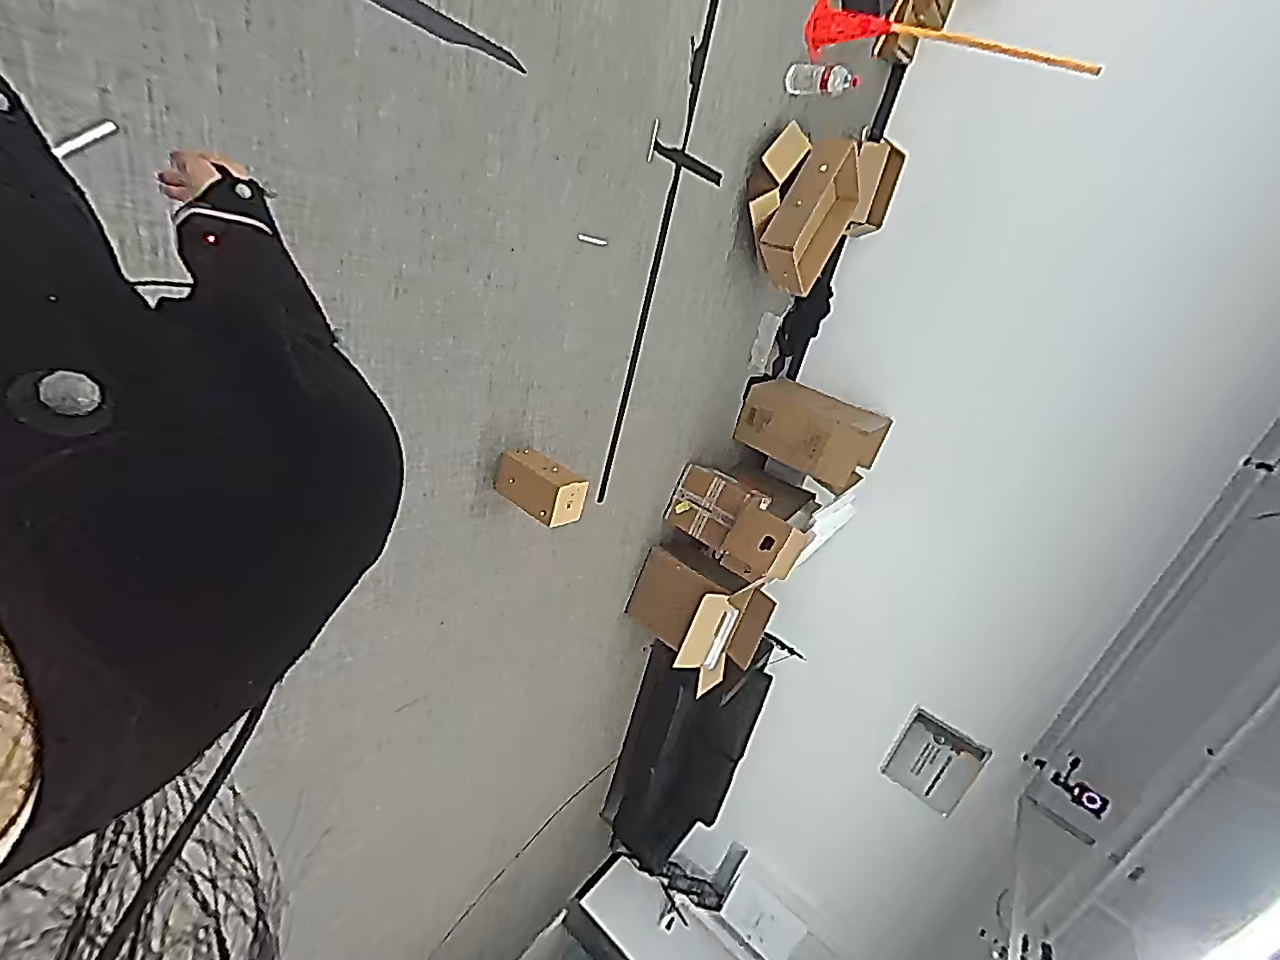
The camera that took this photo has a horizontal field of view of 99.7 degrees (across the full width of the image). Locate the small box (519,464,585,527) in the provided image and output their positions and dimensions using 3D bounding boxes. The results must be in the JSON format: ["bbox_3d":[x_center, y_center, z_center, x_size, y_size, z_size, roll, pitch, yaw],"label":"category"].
[{"bbox_3d":[-0.344,0.055,2.082,0.168,0.176,0.179,-12,124,-54],"label":"small box"}]
